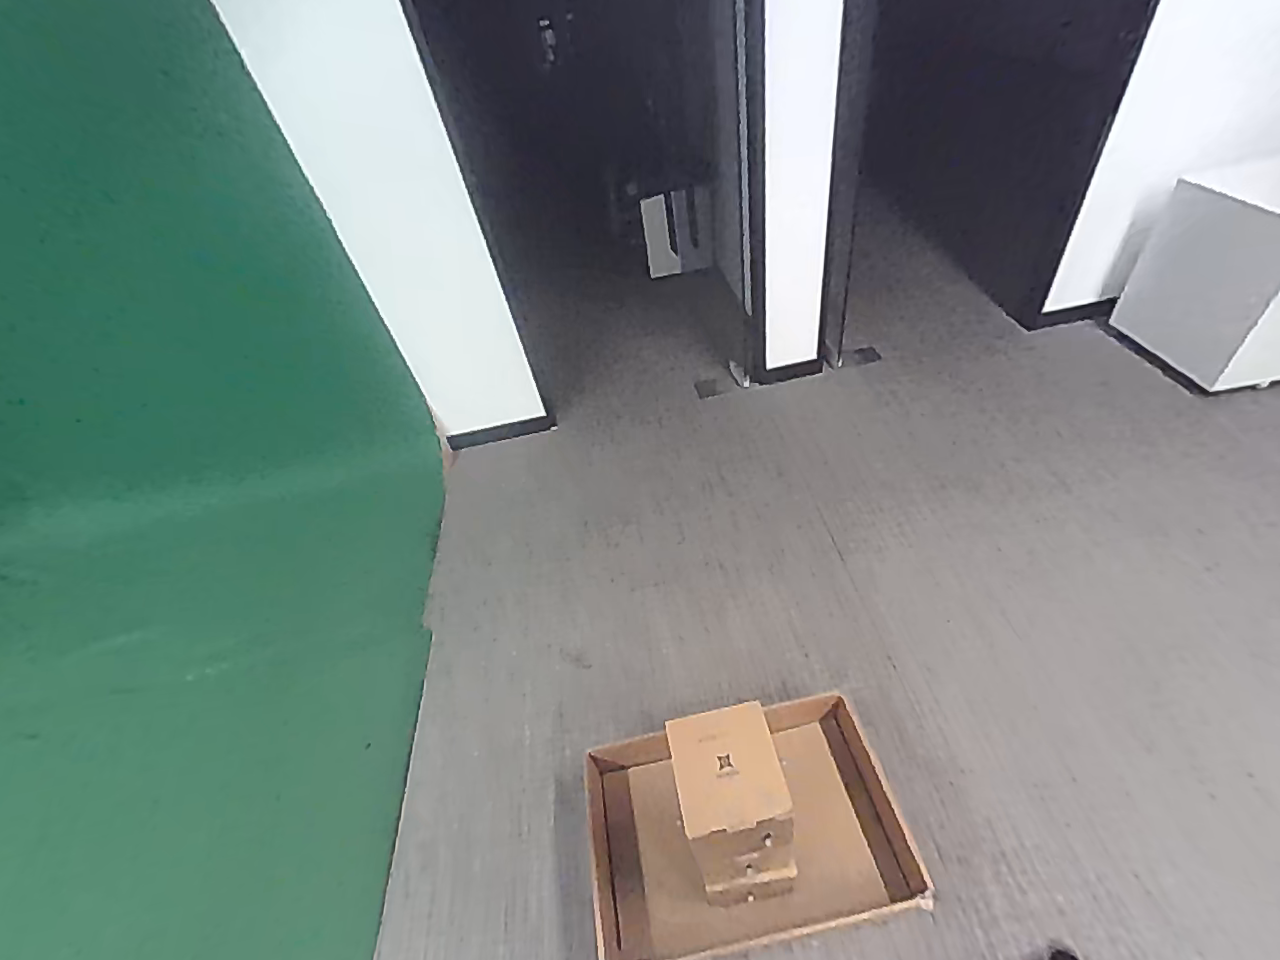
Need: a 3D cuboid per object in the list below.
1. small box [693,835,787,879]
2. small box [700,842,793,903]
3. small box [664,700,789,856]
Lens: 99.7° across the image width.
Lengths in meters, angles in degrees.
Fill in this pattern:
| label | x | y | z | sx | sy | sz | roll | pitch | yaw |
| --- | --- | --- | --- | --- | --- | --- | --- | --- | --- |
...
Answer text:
| label | x | y | z | sx | sy | sz | roll | pitch | yaw |
| --- | --- | --- | --- | --- | --- | --- | --- | --- | --- |
| small box | 0.174 | 0.633 | 1.031 | 0.168 | 0.176 | 0.179 | -15 | 42 | -1 |
| small box | 0.209 | 0.757 | 1.128 | 0.179 | 0.176 | 0.168 | -12 | 42 | 3 |
| small box | 0.143 | 0.504 | 0.907 | 0.168 | 0.176 | 0.179 | -12 | 42 | 0 |
